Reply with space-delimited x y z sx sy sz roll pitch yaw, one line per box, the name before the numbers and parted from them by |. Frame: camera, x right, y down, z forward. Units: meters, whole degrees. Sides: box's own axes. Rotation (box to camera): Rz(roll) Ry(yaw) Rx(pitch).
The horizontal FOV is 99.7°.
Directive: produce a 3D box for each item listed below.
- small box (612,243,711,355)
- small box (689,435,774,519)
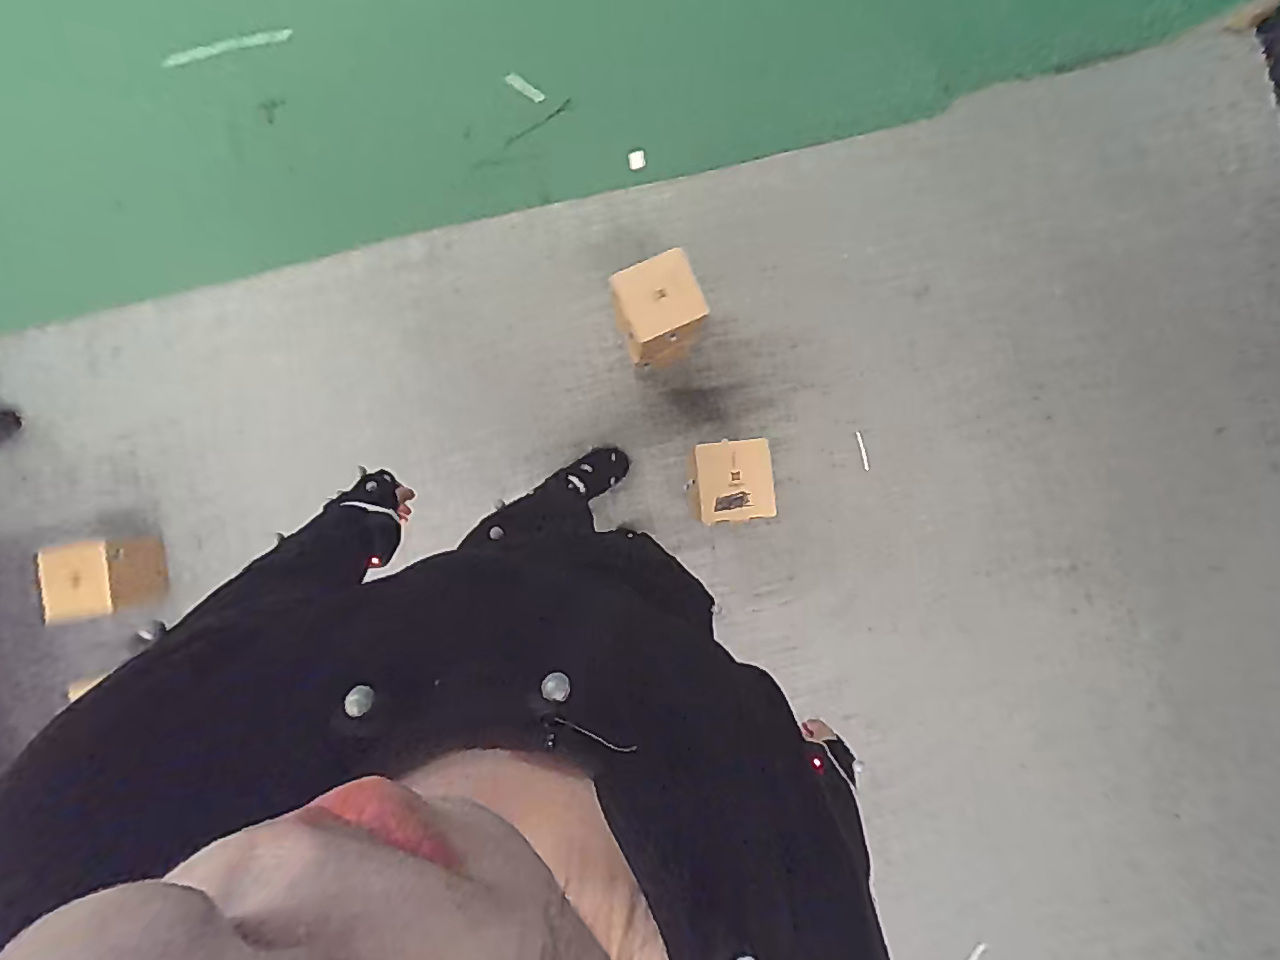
small box | 0.047 -0.413 1.267 0.179 0.176 0.168 -23 90 -2
small box | 0.206 -0.005 1.258 0.168 0.176 0.179 -5 88 0
